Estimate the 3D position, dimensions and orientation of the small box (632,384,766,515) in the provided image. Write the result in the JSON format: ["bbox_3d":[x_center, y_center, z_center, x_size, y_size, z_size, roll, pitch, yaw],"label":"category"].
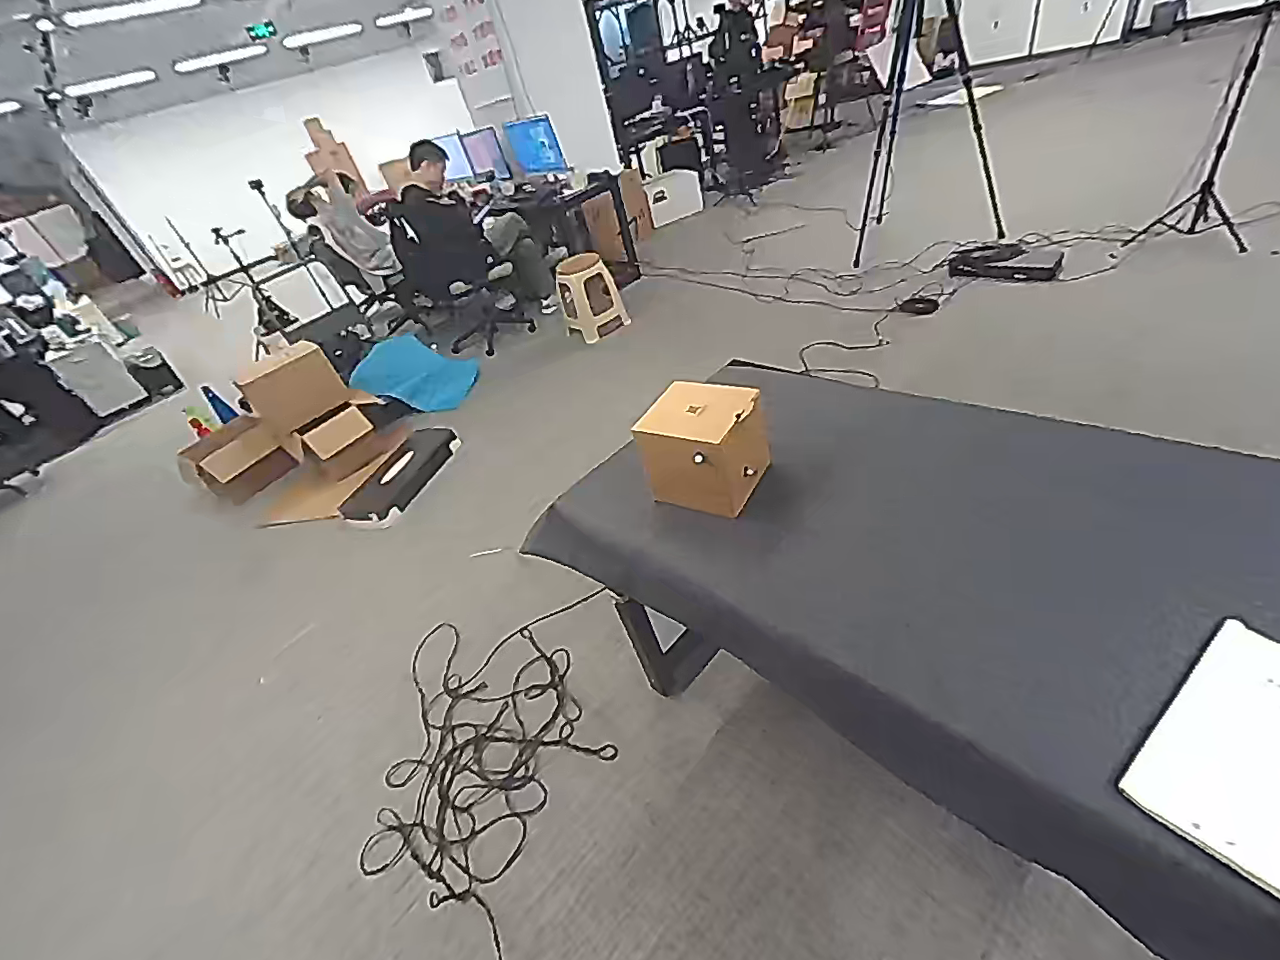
[{"bbox_3d":[0.114,-0.057,0.985,0.179,0.176,0.168,12,46,33],"label":"small box"}]
